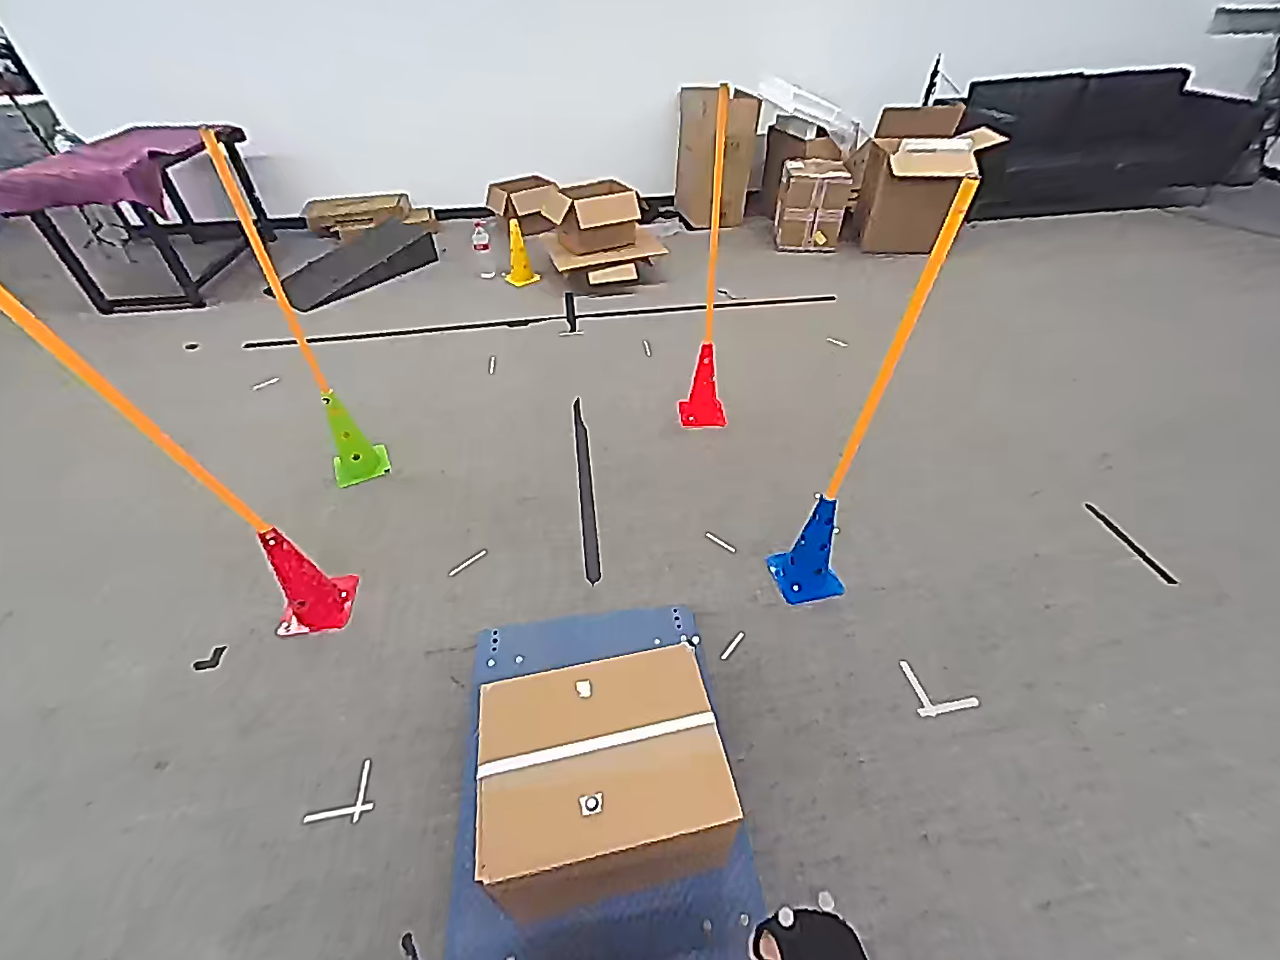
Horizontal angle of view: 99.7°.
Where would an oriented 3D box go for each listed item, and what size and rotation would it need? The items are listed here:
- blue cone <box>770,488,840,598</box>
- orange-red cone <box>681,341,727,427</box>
[{"bbox_3d":[0.540,0.180,1.667,0.193,0.380,0.192,-9,42,-9],"label":"blue cone"},{"bbox_3d":[0.283,-0.425,2.298,0.199,0.360,0.198,-1,44,-1],"label":"orange-red cone"}]
